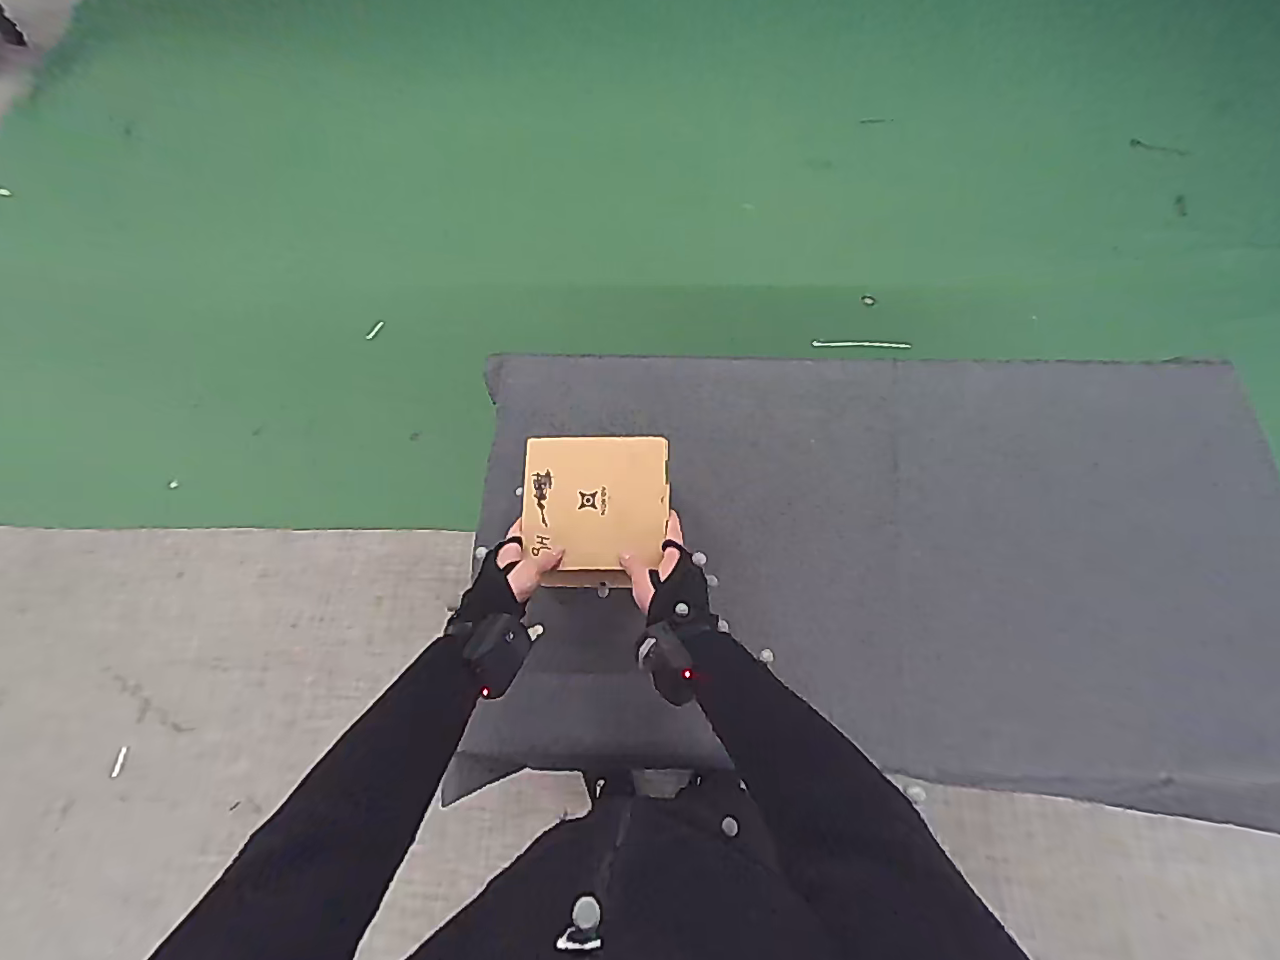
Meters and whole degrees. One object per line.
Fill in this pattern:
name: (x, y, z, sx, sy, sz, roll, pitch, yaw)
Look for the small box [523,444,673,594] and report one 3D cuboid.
small box: (-0.048, 0.059, 0.724, 0.179, 0.176, 0.168, 0, 72, 0)
